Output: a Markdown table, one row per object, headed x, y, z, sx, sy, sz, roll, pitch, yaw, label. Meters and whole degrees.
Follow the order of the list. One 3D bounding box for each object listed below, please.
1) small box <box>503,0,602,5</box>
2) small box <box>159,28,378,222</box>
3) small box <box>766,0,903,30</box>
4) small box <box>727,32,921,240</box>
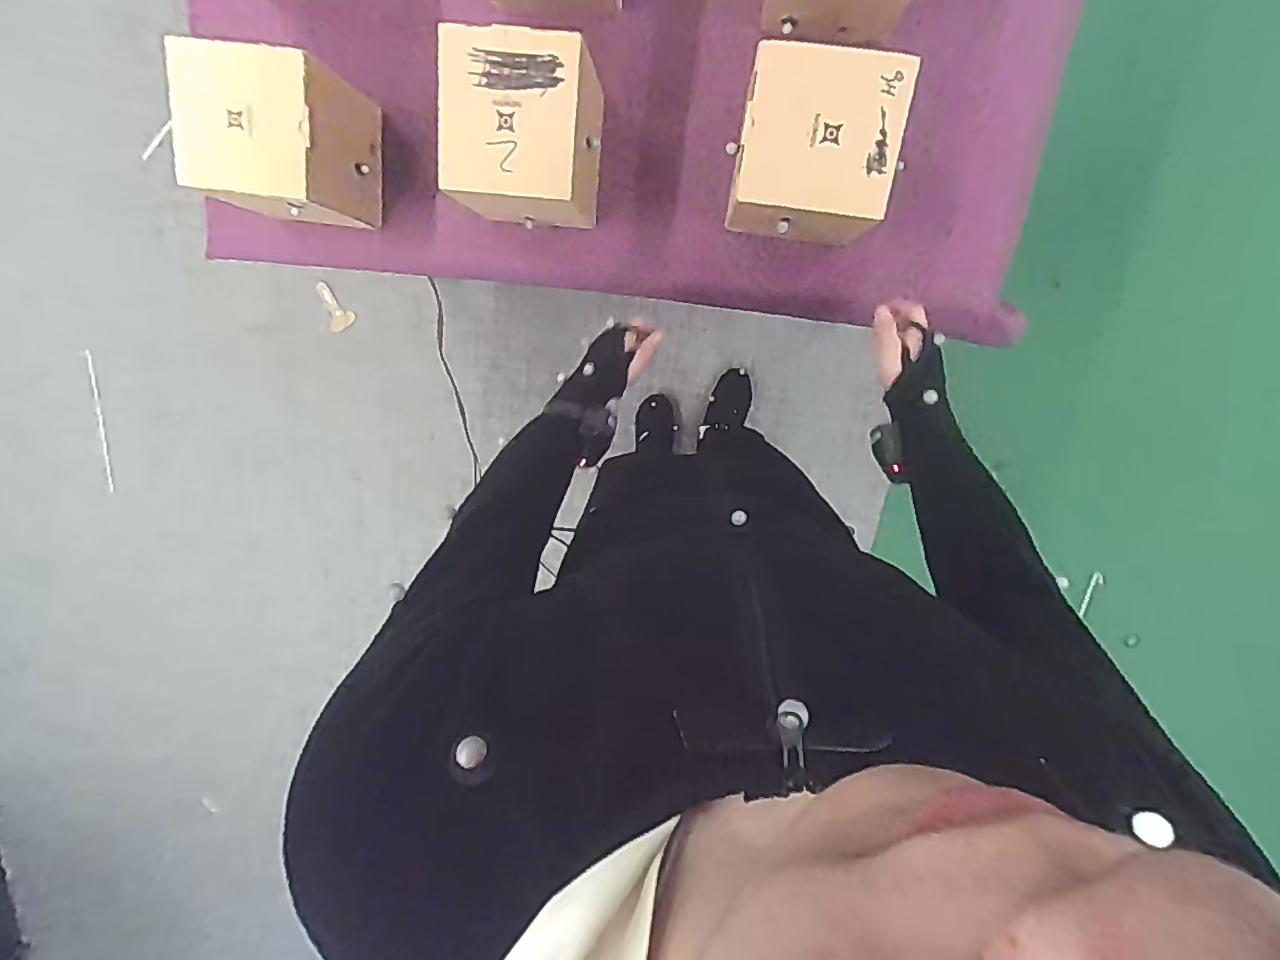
| x | y | z | sx | sy | sz | roll | pitch | yaw | label |
| --- | --- | --- | --- | --- | --- | --- | --- | --- | --- |
| -0.115 | -0.694 | 0.626 | 0.179 | 0.176 | 0.168 | 6 | 106 | 5 | small box |
| -0.482 | -0.458 | 0.724 | 0.179 | 0.176 | 0.168 | 8 | 104 | 3 | small box |
| 0.240 | -0.646 | 0.601 | 0.168 | 0.176 | 0.179 | 8 | 105 | 4 | small box |
| 0.208 | -0.407 | 0.669 | 0.179 | 0.176 | 0.168 | 10 | 105 | 4 | small box |
